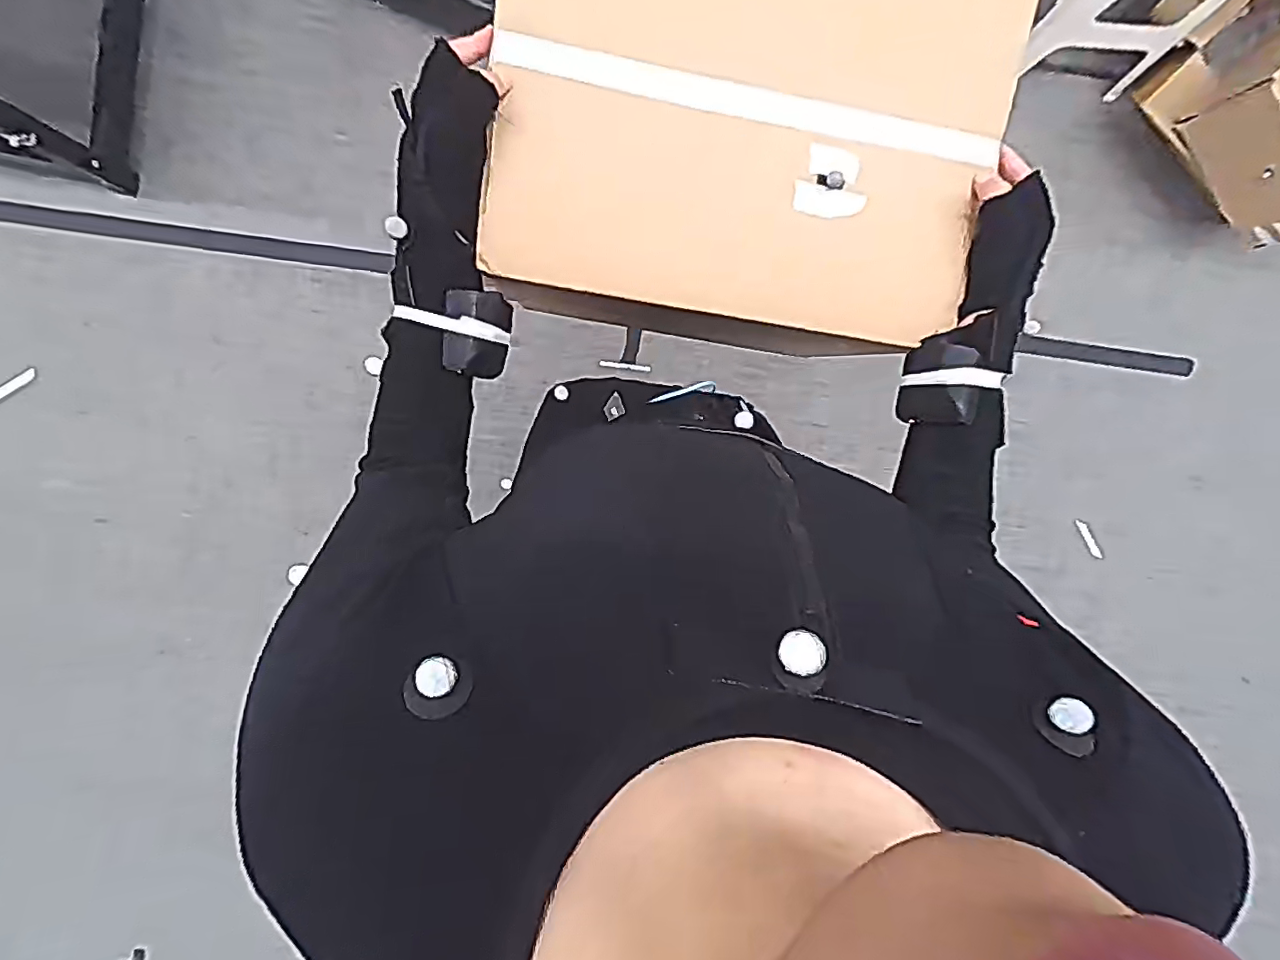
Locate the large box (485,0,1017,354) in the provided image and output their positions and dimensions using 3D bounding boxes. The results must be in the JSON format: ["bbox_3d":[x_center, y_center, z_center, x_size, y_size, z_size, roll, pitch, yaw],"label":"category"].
[{"bbox_3d":[0.072,-0.319,0.575,0.408,0.320,0.320,8,102,-8],"label":"large box"}]
